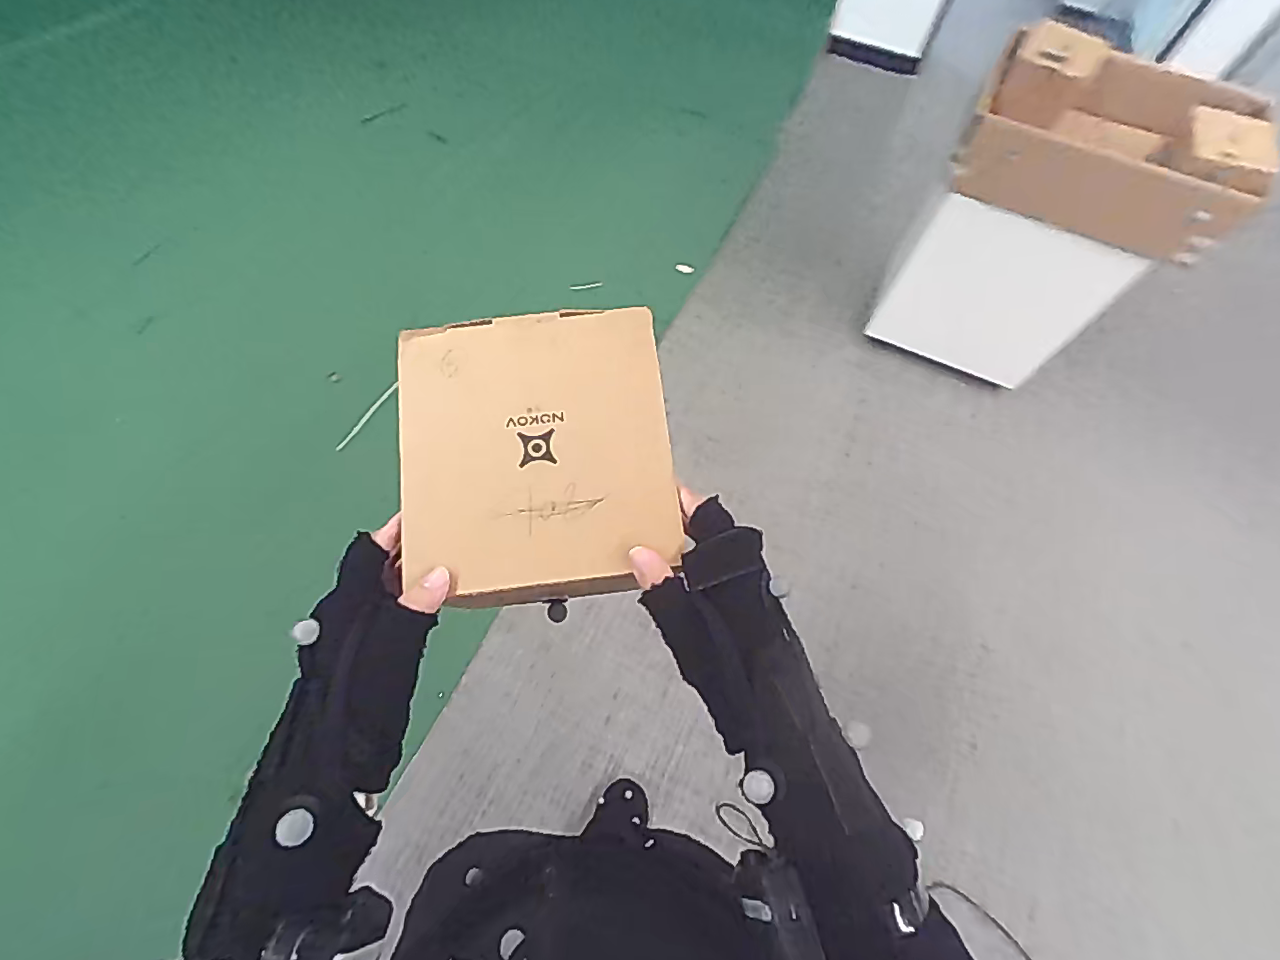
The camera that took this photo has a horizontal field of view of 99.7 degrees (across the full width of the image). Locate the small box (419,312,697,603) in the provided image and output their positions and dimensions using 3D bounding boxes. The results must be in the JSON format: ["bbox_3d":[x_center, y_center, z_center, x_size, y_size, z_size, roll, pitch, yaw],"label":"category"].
[{"bbox_3d":[-0.056,-0.004,0.416,0.168,0.176,0.179,-5,76,-3],"label":"small box"}]
